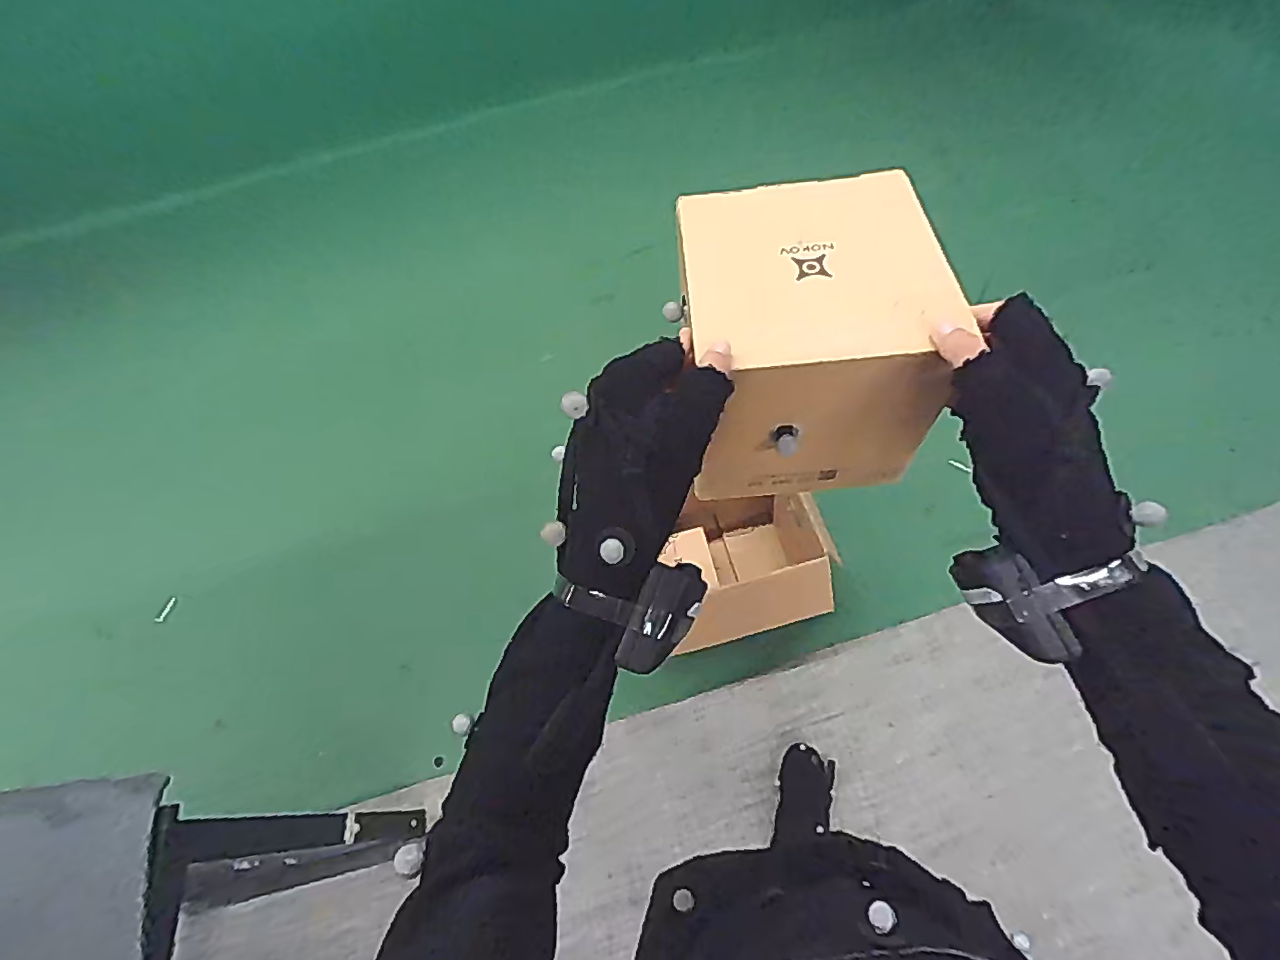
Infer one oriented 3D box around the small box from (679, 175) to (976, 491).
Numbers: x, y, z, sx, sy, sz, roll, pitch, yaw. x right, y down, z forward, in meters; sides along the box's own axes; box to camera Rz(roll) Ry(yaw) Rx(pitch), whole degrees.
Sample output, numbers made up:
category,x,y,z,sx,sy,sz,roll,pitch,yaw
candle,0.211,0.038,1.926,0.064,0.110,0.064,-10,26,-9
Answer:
category,x,y,z,sx,sy,sz,roll,pitch,yaw
small box,0.122,-0.101,0.428,0.168,0.176,0.179,-5,59,5
